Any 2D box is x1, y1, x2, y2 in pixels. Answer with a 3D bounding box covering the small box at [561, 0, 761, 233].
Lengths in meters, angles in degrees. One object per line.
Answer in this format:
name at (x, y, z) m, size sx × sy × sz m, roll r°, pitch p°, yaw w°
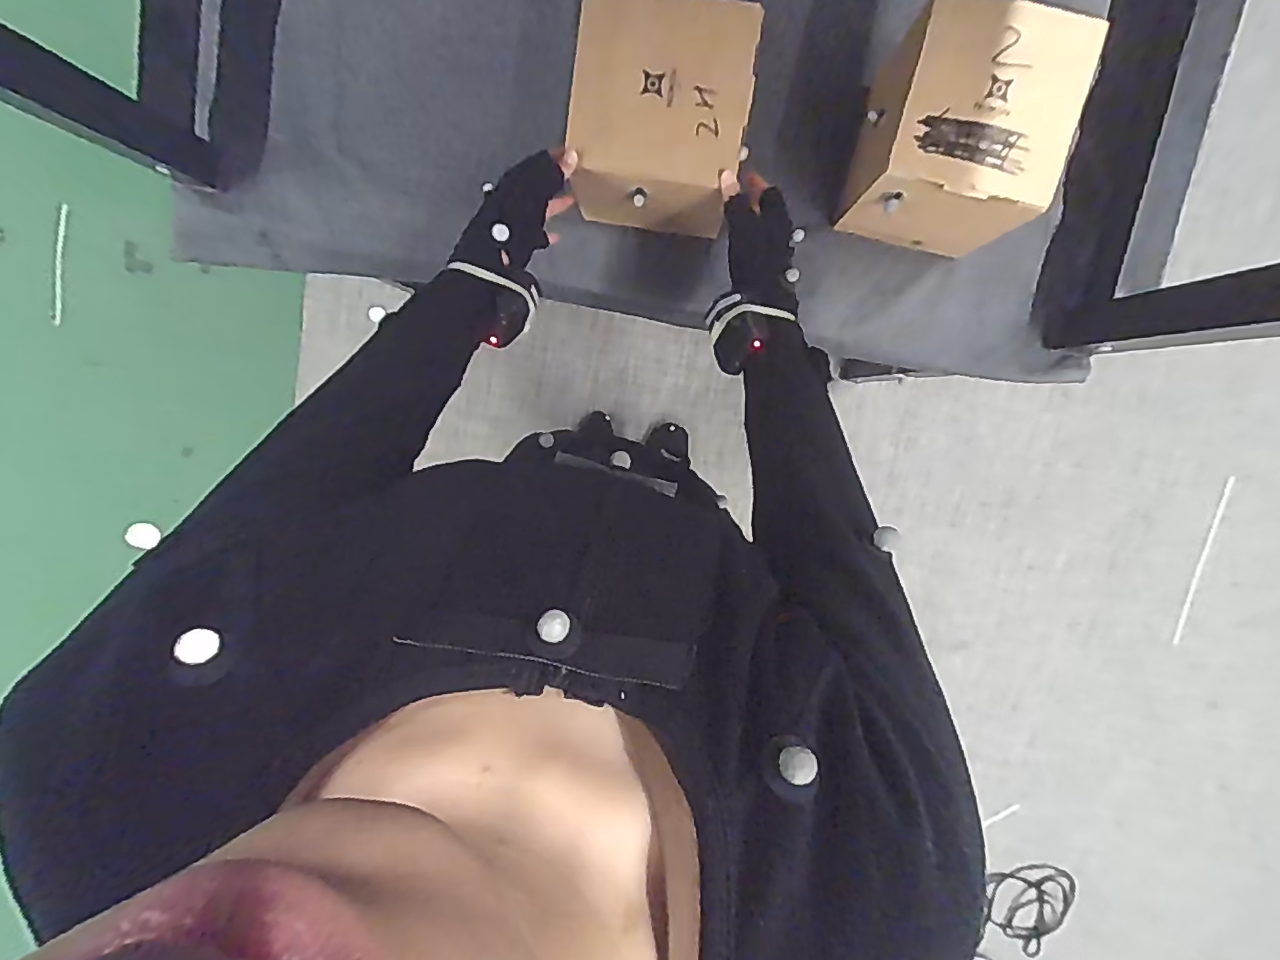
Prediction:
small box at (0.021, -0.394, 0.607) m, size 0.179 × 0.176 × 0.168 m, roll 9°, pitch 99°, yaw 0°
